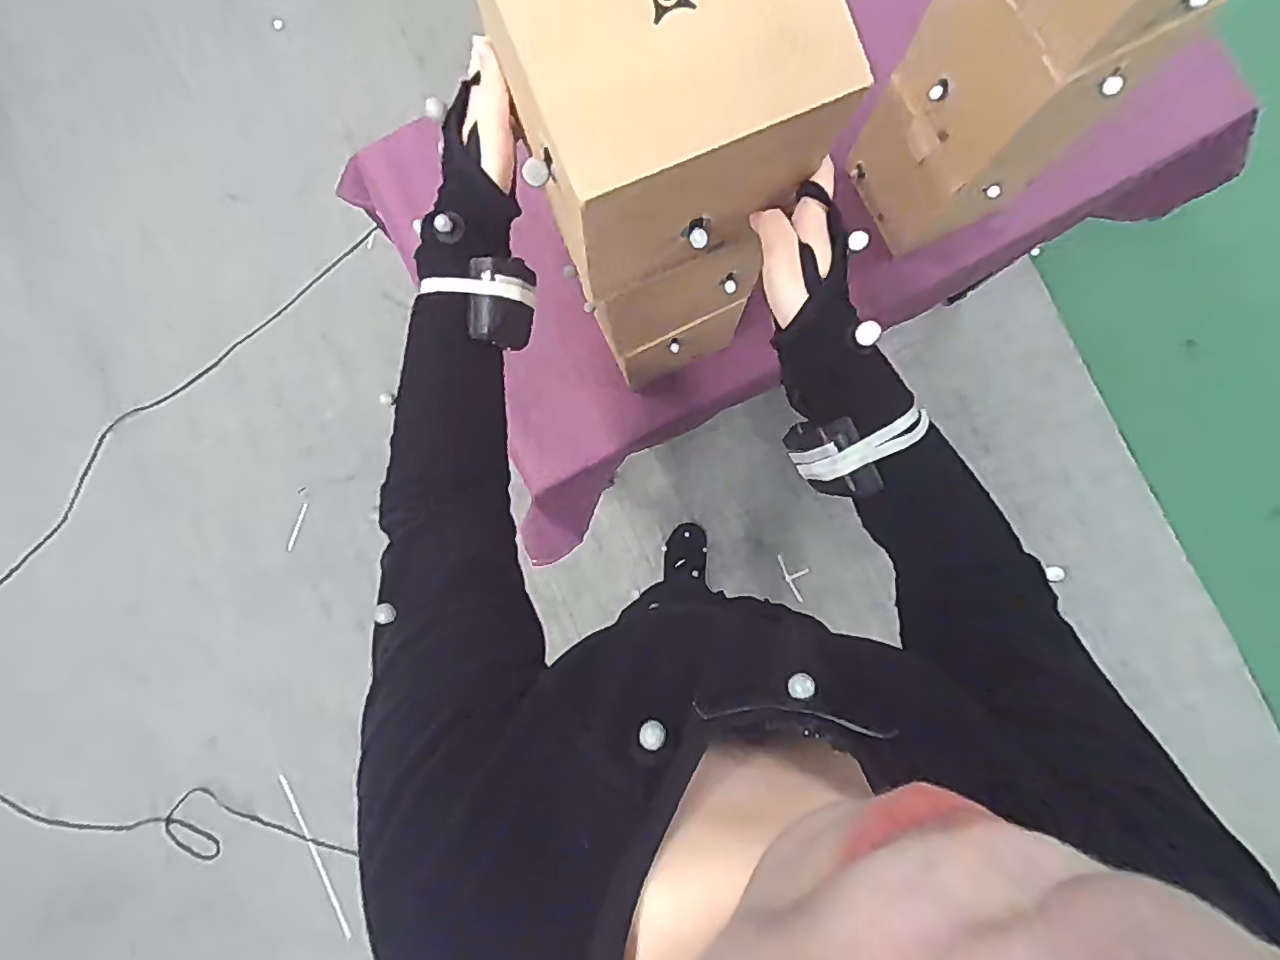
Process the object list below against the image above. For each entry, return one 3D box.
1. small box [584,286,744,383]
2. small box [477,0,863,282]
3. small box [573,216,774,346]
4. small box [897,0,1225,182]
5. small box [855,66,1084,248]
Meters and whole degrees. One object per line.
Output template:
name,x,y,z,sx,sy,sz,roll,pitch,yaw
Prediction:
small box,0.019,-0.255,0.725,0.168,0.176,0.179,-25,86,2
small box,0.006,-0.249,0.349,0.168,0.176,0.179,-23,93,-2
small box,0.012,-0.264,0.562,0.179,0.176,0.168,-24,86,1
small box,0.408,-0.455,0.555,0.179,0.176,0.168,-27,87,2
small box,0.412,-0.446,0.718,0.179,0.176,0.168,-26,86,1
